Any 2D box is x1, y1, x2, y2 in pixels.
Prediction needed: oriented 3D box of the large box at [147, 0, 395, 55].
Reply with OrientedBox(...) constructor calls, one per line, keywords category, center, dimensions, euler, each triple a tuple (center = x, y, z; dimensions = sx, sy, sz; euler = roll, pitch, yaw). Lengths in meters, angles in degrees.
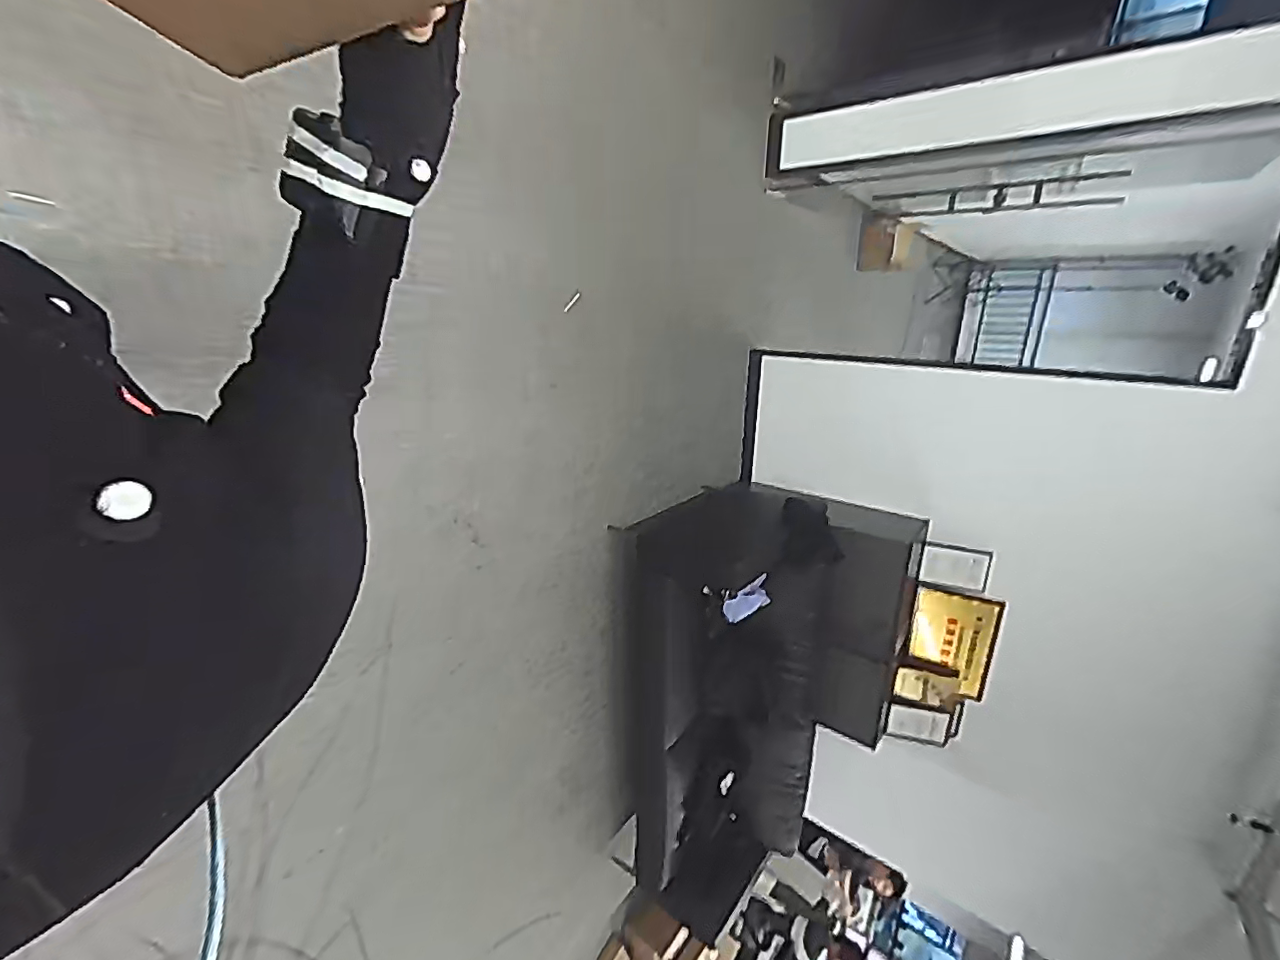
OrientedBox(category="large box", center=(-0.211, -0.408, 0.112), dimensions=(0.408, 0.320, 0.320), euler=(8, 96, -60))
